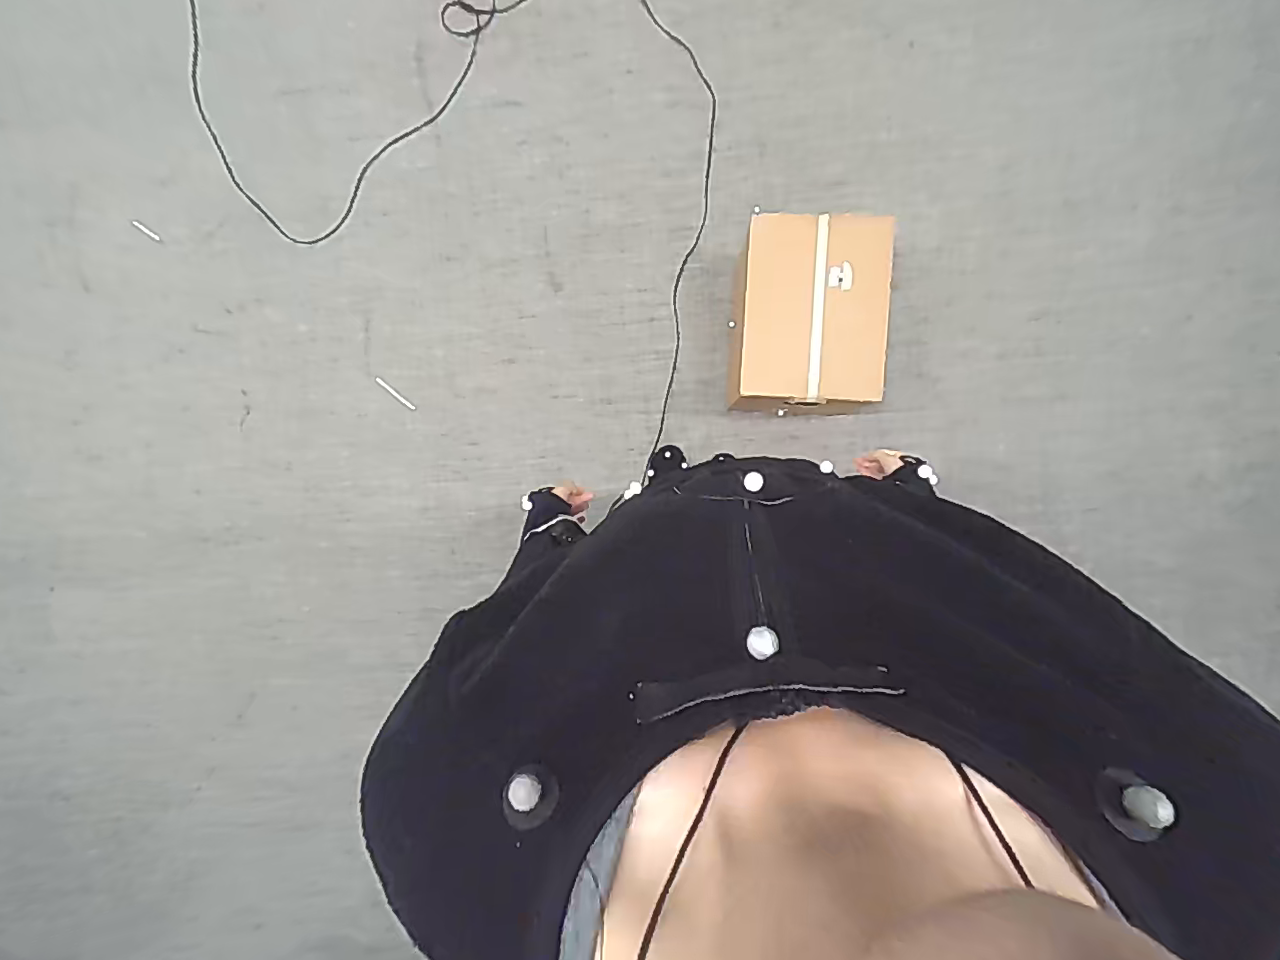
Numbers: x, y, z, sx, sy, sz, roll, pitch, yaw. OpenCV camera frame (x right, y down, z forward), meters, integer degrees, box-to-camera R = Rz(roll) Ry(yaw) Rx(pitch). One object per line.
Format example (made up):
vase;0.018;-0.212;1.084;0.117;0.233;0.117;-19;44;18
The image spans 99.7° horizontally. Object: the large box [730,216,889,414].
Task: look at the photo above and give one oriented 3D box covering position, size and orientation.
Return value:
large box;0.394;-0.380;1.337;0.320;0.320;0.408;4;91;3
